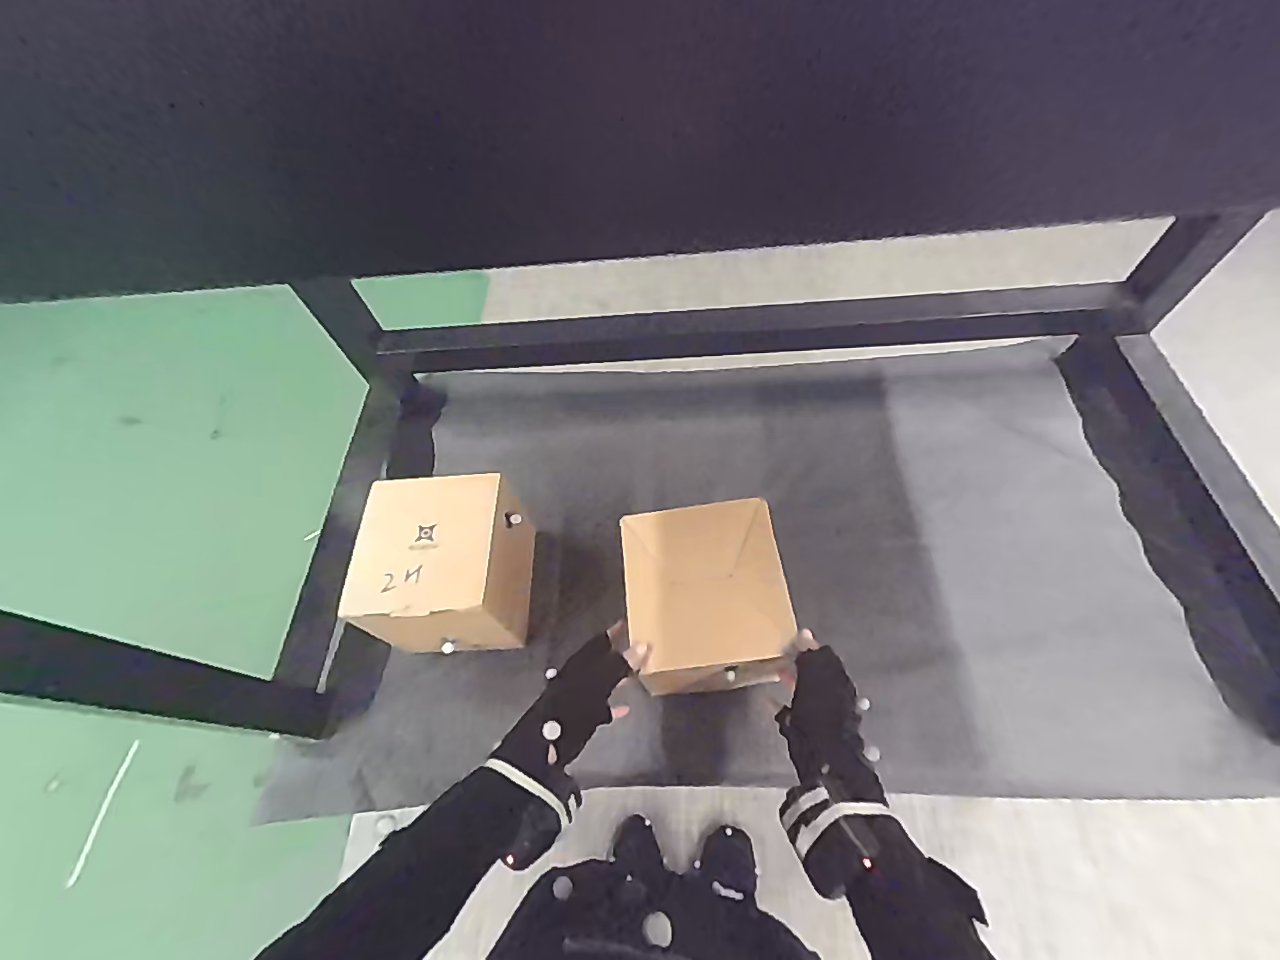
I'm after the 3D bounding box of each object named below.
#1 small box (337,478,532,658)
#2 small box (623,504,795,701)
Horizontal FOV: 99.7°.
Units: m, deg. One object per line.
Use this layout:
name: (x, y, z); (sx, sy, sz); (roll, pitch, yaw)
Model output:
small box: (-0.243, 0.118, 0.694); (0.168, 0.176, 0.179); (-4, 58, 5)
small box: (0.075, 0.146, 0.636); (0.168, 0.176, 0.179); (-8, 58, 3)
